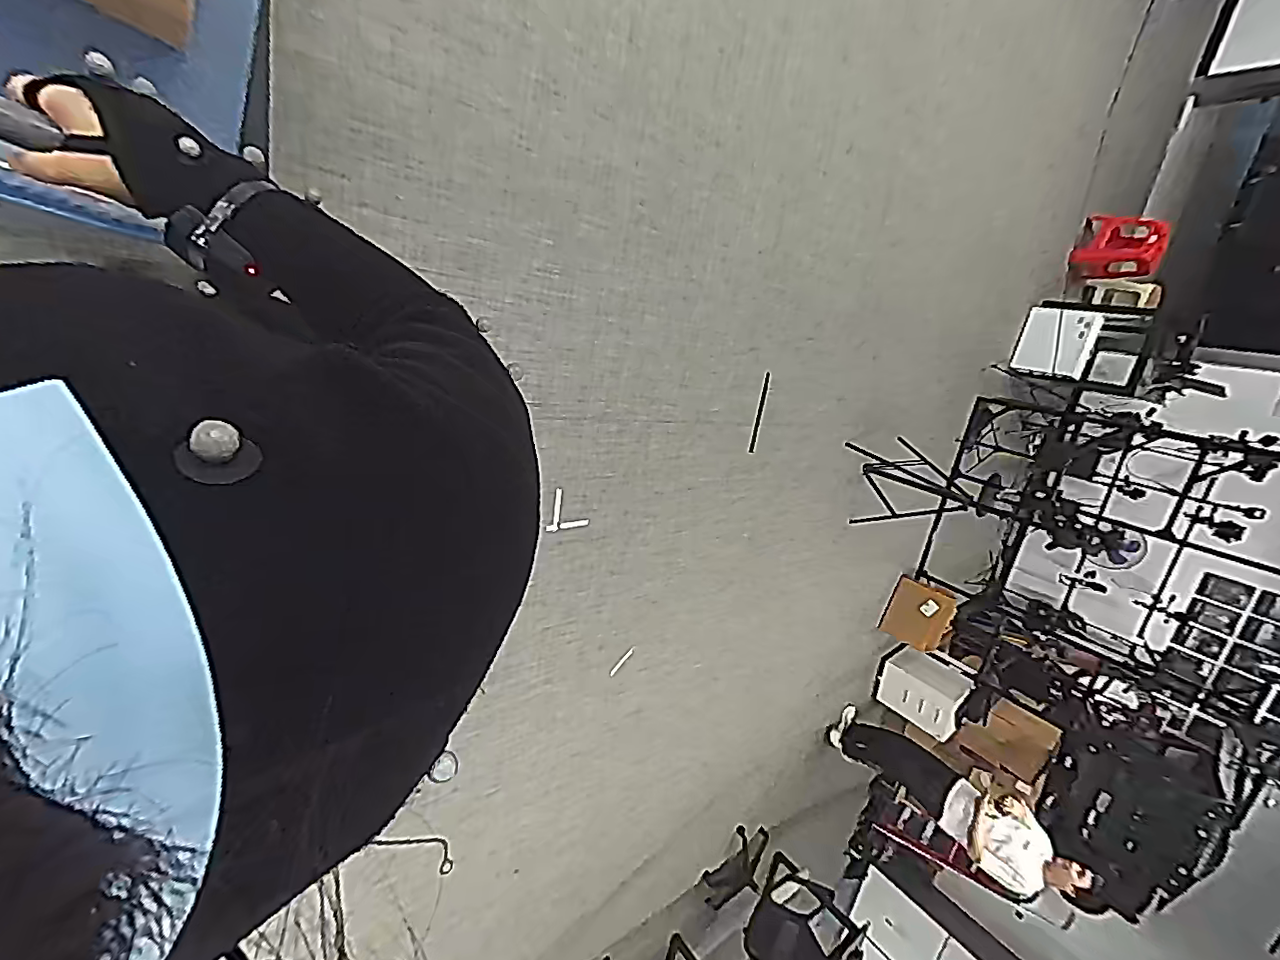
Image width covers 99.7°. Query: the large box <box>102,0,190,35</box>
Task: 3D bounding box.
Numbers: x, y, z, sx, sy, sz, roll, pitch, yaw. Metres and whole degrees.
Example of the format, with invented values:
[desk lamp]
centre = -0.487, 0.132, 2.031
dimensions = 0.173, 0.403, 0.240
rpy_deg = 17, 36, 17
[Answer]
[large box]
centre = -0.756, -0.829, 0.616
dimensions = 0.408, 0.320, 0.320
rpy_deg = 9, 102, -42
